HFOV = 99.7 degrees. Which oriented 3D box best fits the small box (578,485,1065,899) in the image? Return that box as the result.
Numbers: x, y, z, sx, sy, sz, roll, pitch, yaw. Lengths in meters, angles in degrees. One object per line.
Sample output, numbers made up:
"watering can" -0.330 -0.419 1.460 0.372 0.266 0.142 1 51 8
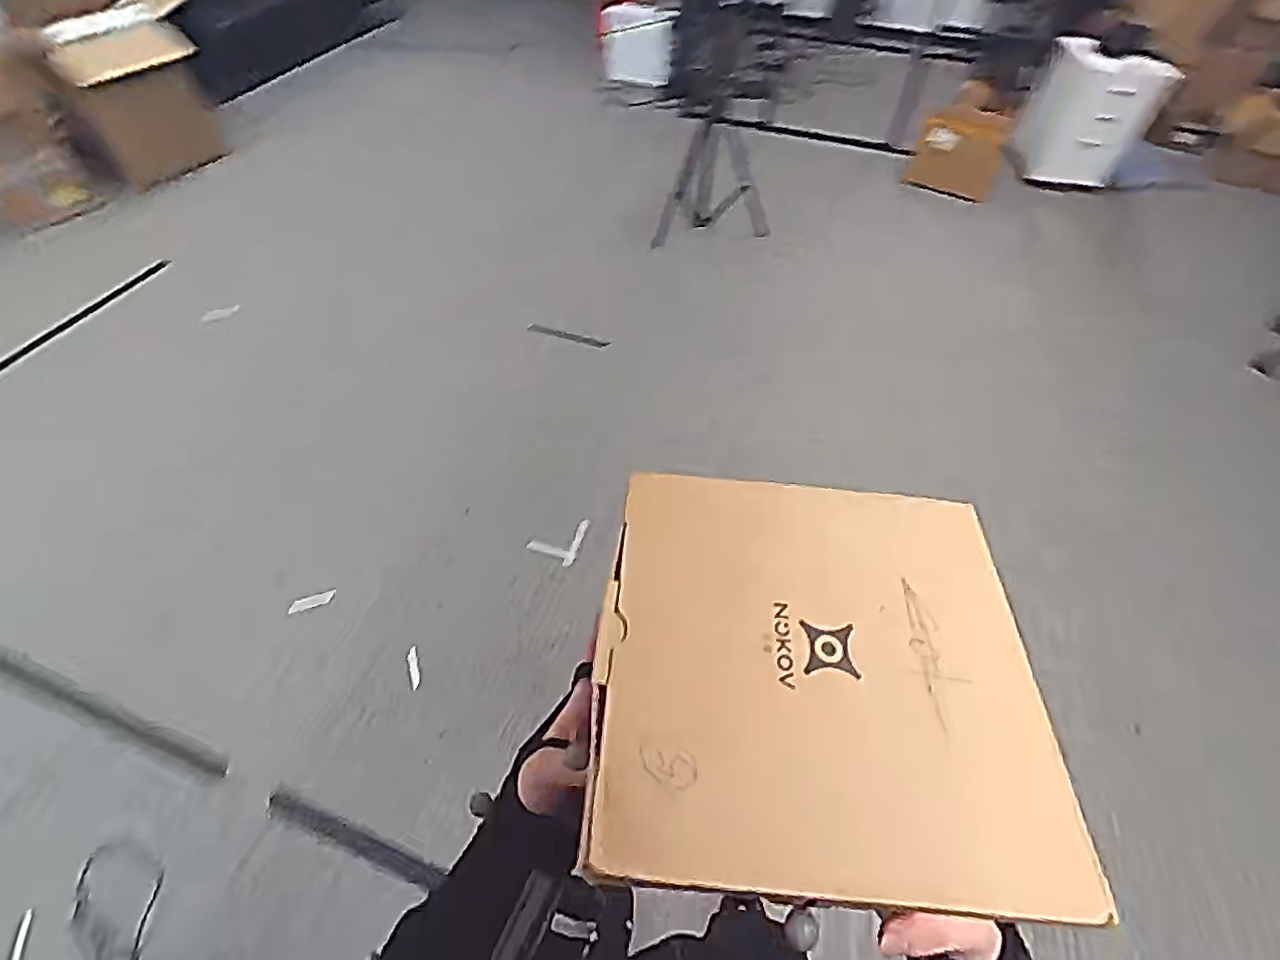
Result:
"small box" 0.064 0.122 0.300 0.179 0.176 0.168 5 54 -1
